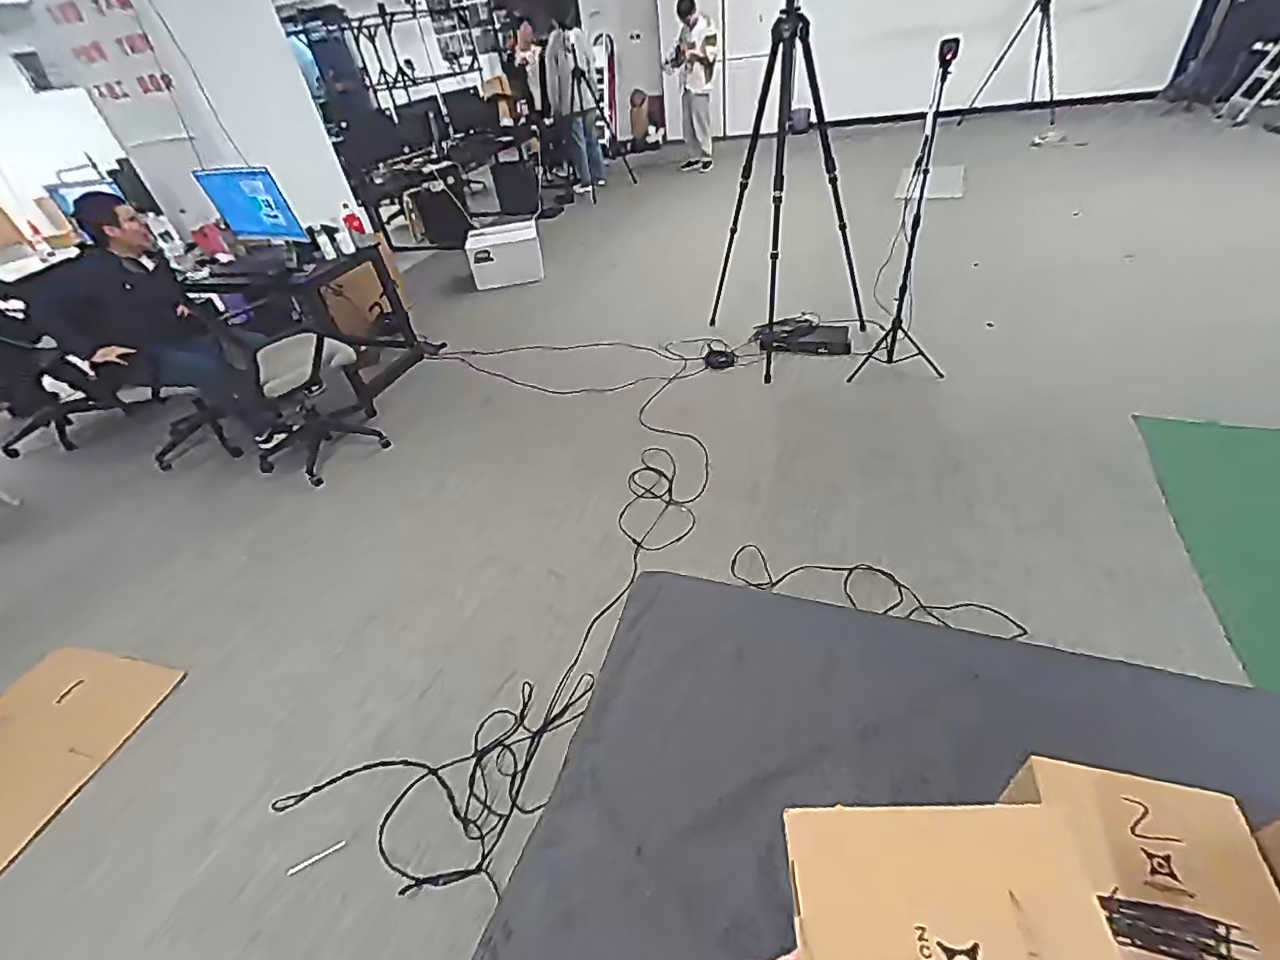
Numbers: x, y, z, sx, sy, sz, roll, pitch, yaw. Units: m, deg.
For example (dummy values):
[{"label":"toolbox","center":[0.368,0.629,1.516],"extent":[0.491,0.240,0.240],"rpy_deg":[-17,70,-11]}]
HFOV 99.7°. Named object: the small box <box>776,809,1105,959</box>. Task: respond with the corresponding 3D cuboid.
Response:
[{"label":"small box","center":[0.198,0.340,0.374],"extent":[0.179,0.176,0.168],"rpy_deg":[-8,47,12]}]
